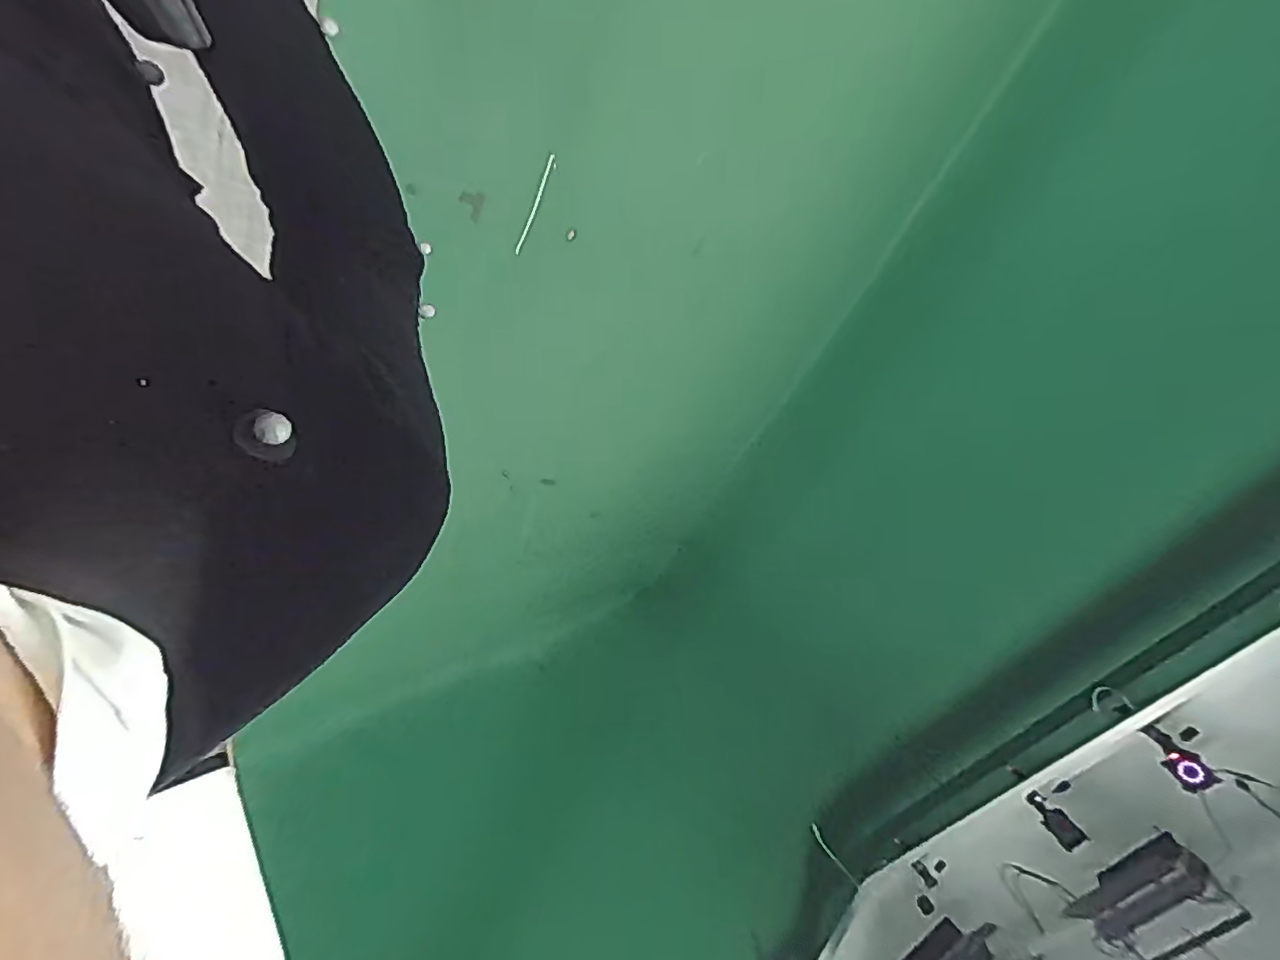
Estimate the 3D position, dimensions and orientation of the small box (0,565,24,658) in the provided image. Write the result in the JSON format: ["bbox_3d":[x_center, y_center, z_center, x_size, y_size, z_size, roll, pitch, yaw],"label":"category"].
[{"bbox_3d":[-1.586,0.317,1.267,0.179,0.176,0.168,-2,132,-51],"label":"small box"}]
